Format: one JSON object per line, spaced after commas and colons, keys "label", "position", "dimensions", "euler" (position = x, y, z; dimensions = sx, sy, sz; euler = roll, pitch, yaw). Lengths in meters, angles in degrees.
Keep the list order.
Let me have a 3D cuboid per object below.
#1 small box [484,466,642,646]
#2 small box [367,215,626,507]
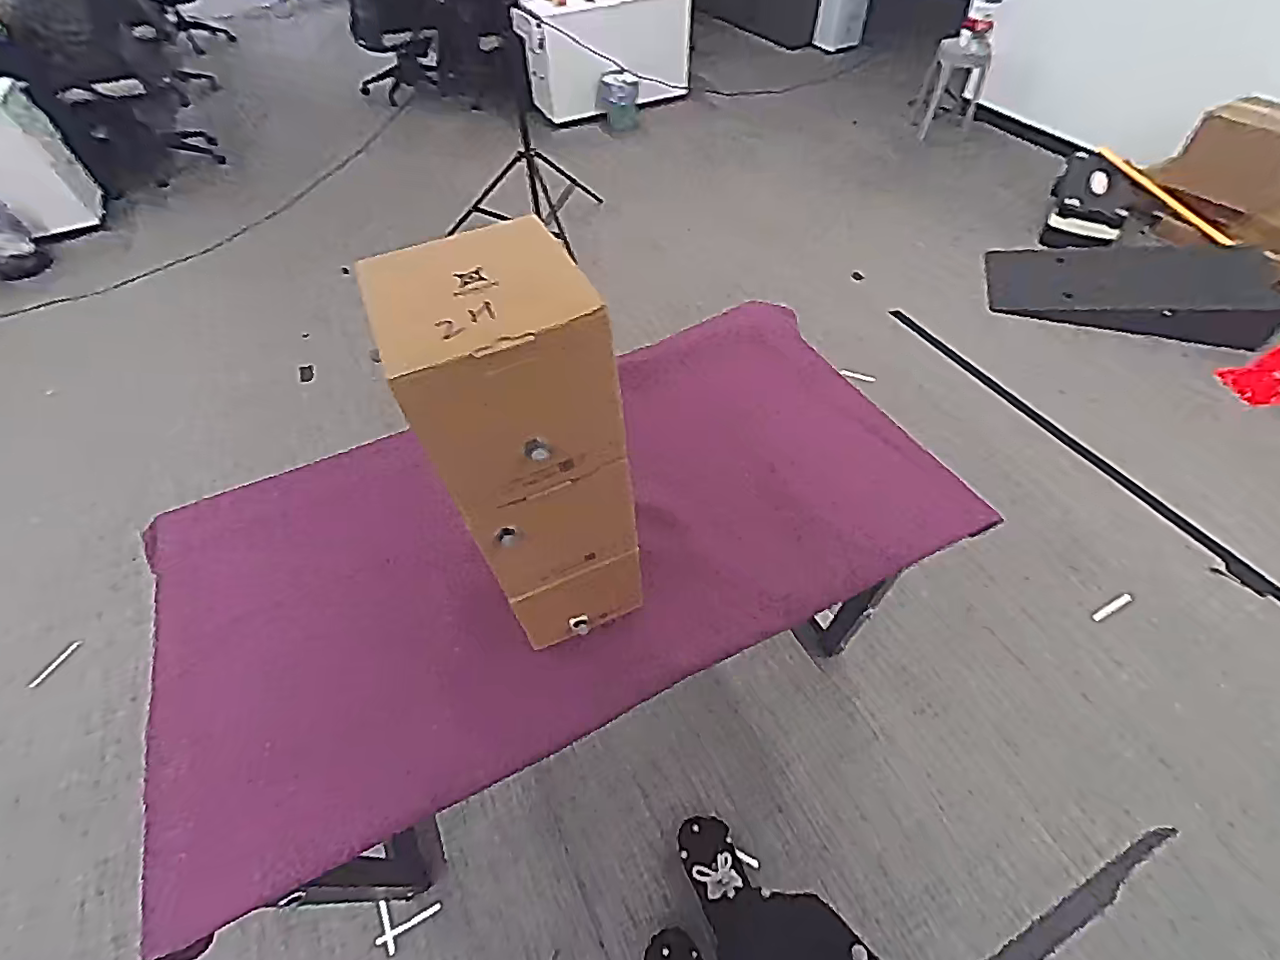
{"label": "small box", "position": [-0.105, 0.099, 0.752], "dimensions": [0.168, 0.176, 0.179], "euler": [-21, 55, -13]}
{"label": "small box", "position": [-0.123, -0.108, 0.495], "dimensions": [0.168, 0.176, 0.179], "euler": [-22, 54, -13]}
